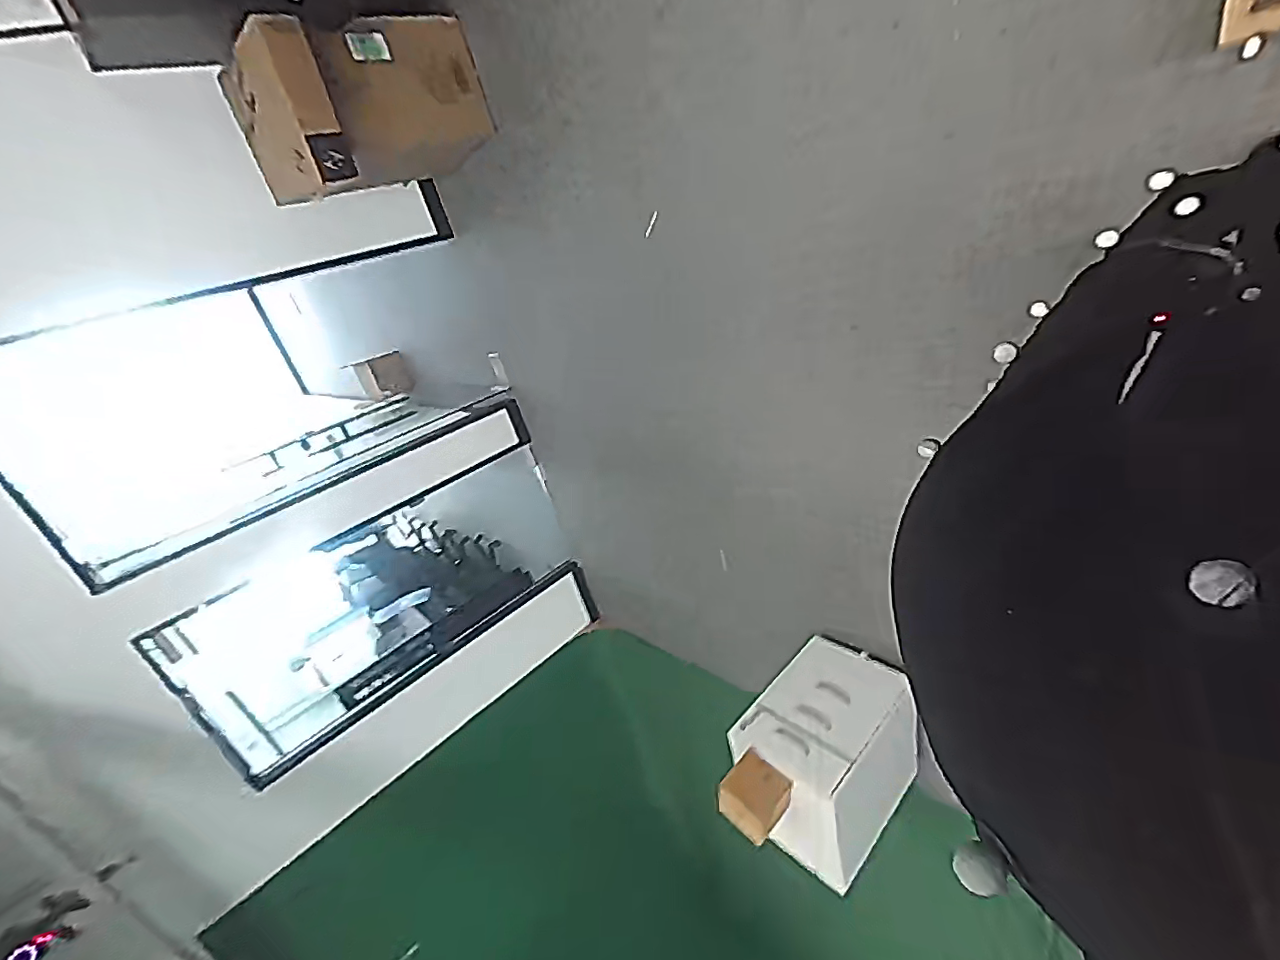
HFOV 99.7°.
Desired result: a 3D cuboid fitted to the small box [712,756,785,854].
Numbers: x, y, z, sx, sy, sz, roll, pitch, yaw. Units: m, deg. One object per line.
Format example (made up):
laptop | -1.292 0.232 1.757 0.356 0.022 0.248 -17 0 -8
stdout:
small box | 0.349 1.036 1.734 0.168 0.176 0.179 28 137 38
